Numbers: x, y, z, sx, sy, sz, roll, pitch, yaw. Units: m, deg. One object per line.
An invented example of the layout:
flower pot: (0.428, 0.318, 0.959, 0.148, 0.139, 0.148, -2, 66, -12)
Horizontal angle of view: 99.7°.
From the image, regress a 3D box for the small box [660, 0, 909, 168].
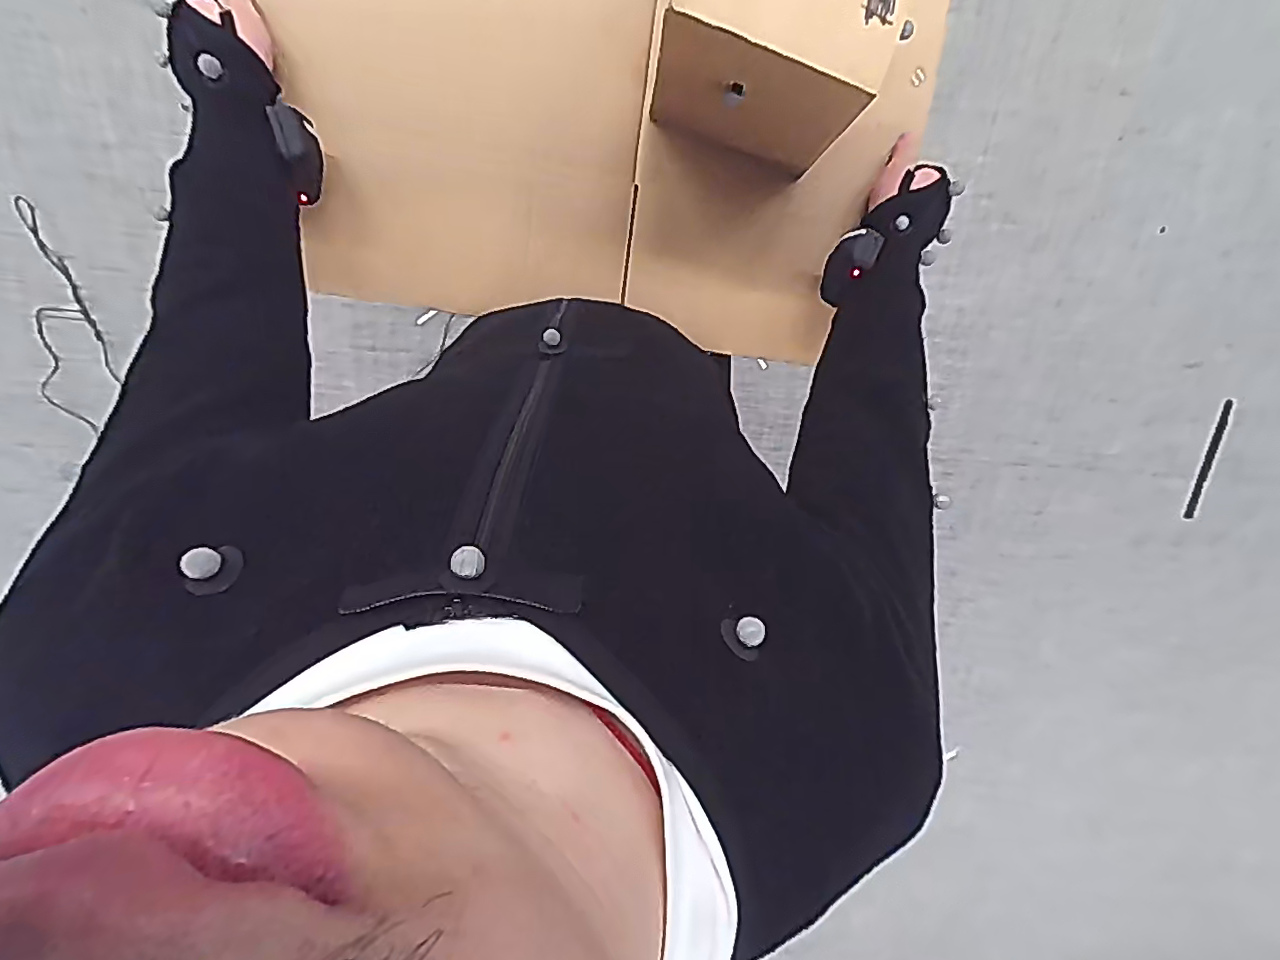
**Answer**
small box: (0.124, -0.415, 0.484, 0.179, 0.176, 0.168, 17, 99, -5)
